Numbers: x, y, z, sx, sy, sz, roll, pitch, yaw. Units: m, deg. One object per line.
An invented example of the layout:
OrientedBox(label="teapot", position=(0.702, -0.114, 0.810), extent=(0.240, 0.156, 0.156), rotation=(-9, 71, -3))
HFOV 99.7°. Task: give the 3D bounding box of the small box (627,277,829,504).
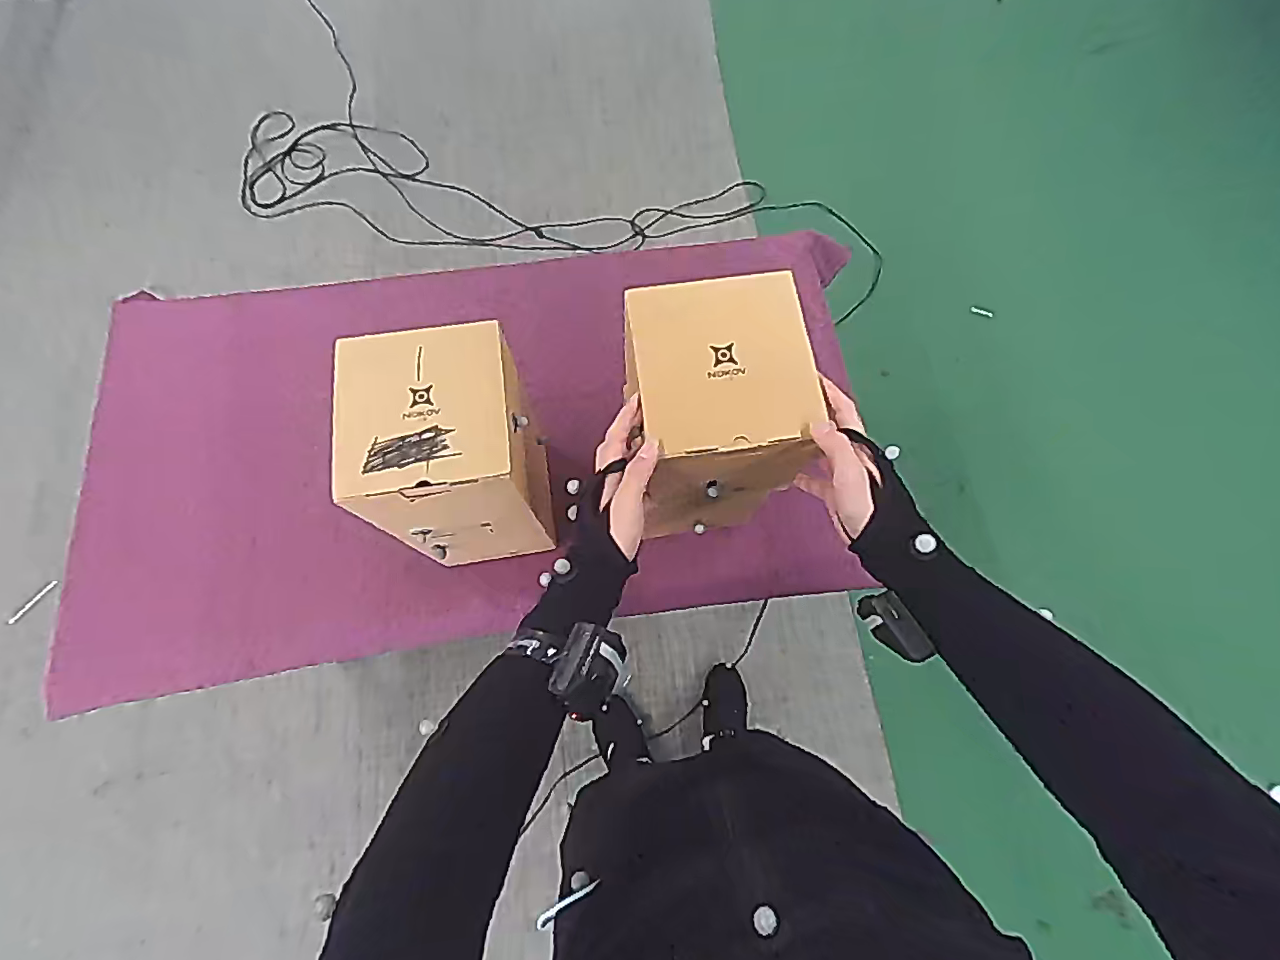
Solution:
OrientedBox(label="small box", position=(0.076, -0.085, 0.576), extent=(0.168, 0.176, 0.179), rotation=(-7, 74, -3))

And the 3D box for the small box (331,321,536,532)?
OrientedBox(label="small box", position=(-0.214, -0.046, 0.599), extent=(0.168, 0.176, 0.179), rotation=(-7, 70, -4))

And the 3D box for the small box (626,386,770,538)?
OrientedBox(label="small box", position=(0.070, -0.029, 0.772), extent=(0.168, 0.176, 0.179), rotation=(-7, 71, -3))
